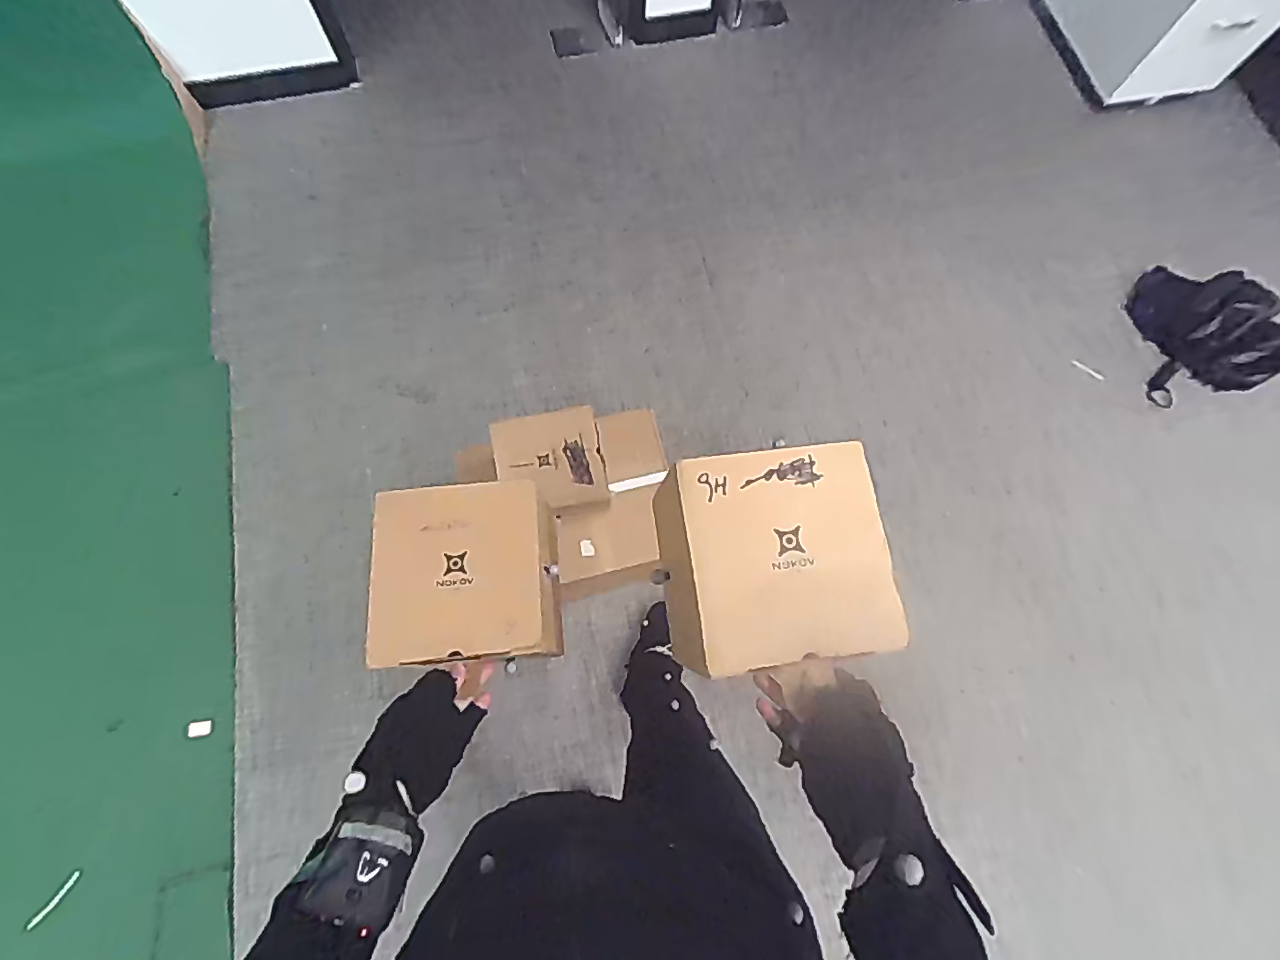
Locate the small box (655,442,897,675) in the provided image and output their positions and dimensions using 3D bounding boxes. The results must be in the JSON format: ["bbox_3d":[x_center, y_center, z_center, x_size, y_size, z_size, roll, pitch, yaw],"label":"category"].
[{"bbox_3d":[0.112,0.075,0.523,0.168,0.176,0.179,-7,79,-6],"label":"small box"}]

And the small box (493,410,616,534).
[{"bbox_3d":[-0.148,-0.007,0.971,0.179,0.176,0.168,-15,80,-6],"label":"small box"}]
